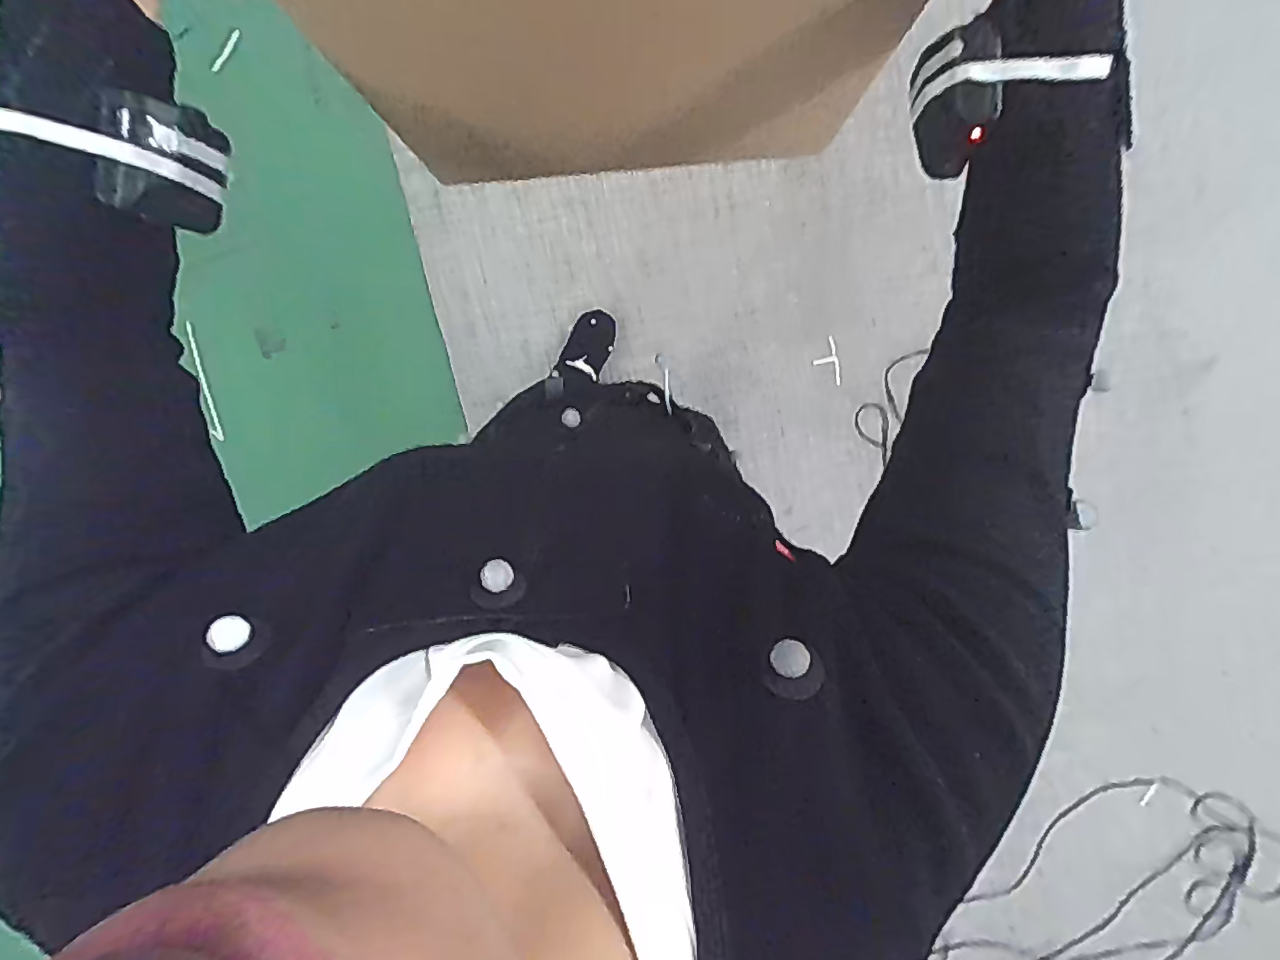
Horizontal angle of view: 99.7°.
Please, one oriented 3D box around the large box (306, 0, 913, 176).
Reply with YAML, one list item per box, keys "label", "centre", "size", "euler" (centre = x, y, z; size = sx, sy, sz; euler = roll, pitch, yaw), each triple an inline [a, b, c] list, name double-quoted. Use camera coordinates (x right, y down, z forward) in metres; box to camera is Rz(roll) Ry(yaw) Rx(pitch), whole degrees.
- label: "large box"
  centre: [-0.021, -0.463, 0.398]
  size: [0.408, 0.320, 0.320]
  euler: [-4, 98, 0]
